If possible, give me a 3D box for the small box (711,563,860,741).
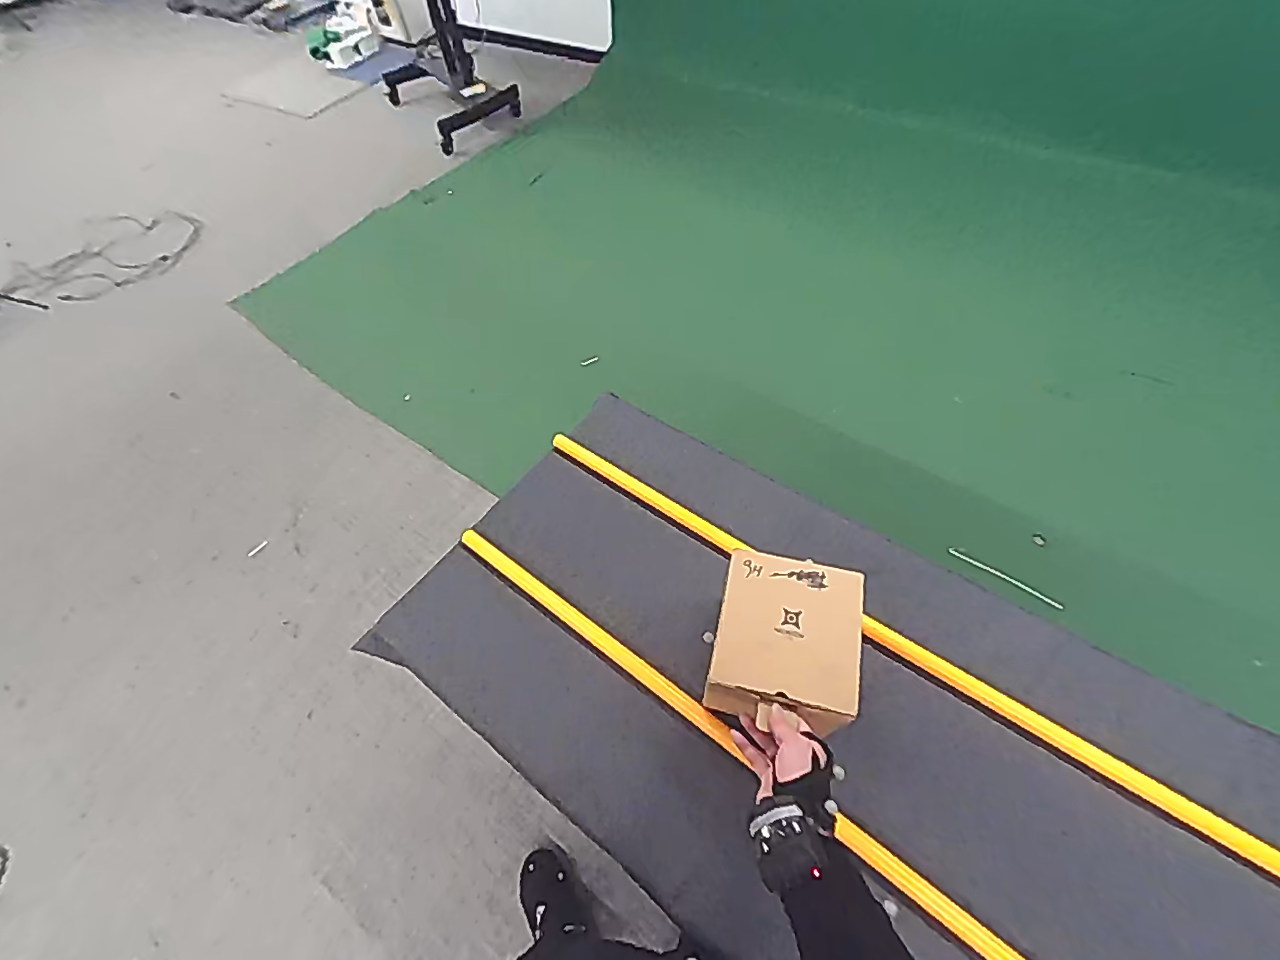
[{"bbox_3d":[0.187,0.232,0.716,0.168,0.176,0.179,7,58,11],"label":"small box"}]
